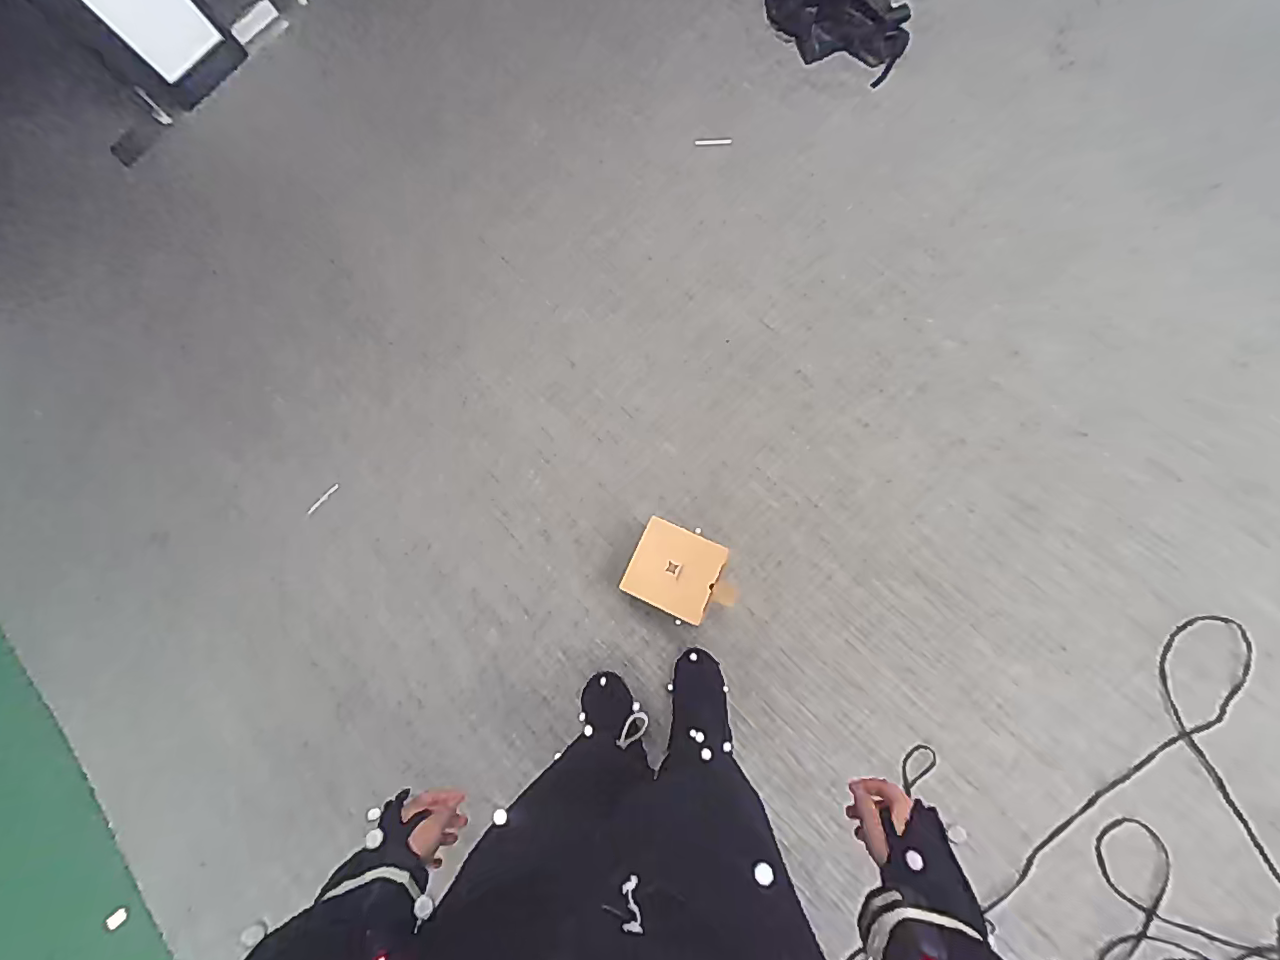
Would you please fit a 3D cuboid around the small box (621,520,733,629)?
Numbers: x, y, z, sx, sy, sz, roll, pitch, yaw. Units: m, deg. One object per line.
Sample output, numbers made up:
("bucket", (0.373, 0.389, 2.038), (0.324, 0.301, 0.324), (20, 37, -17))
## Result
("small box", (0.083, 0.204, 1.149), (0.179, 0.176, 0.168), (23, 81, 12))
